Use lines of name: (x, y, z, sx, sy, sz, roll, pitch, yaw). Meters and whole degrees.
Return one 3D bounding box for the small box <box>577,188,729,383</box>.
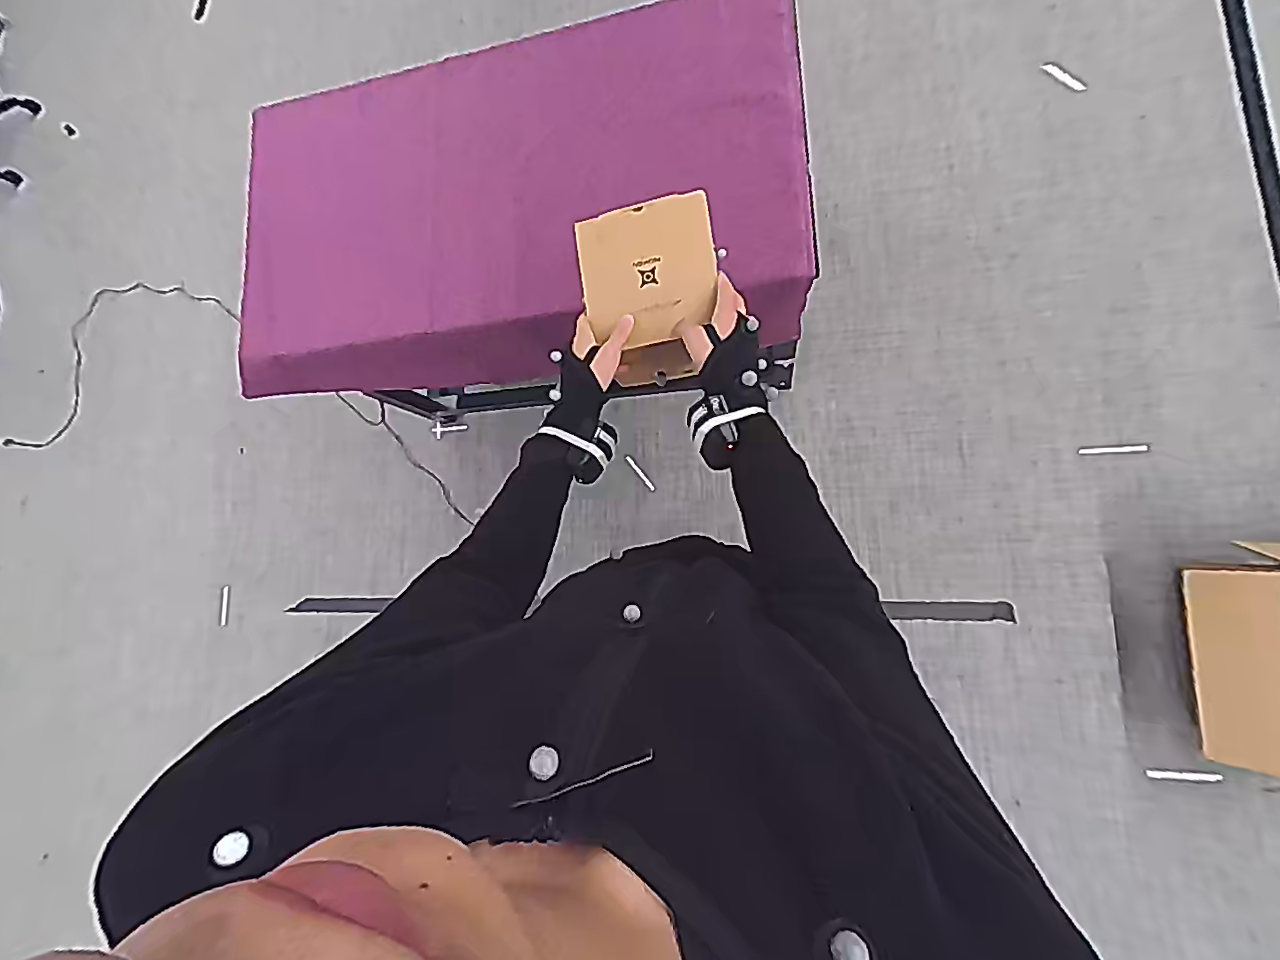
small box: (0.025, -0.247, 0.728, 0.168, 0.176, 0.179, -9, 84, 11)
